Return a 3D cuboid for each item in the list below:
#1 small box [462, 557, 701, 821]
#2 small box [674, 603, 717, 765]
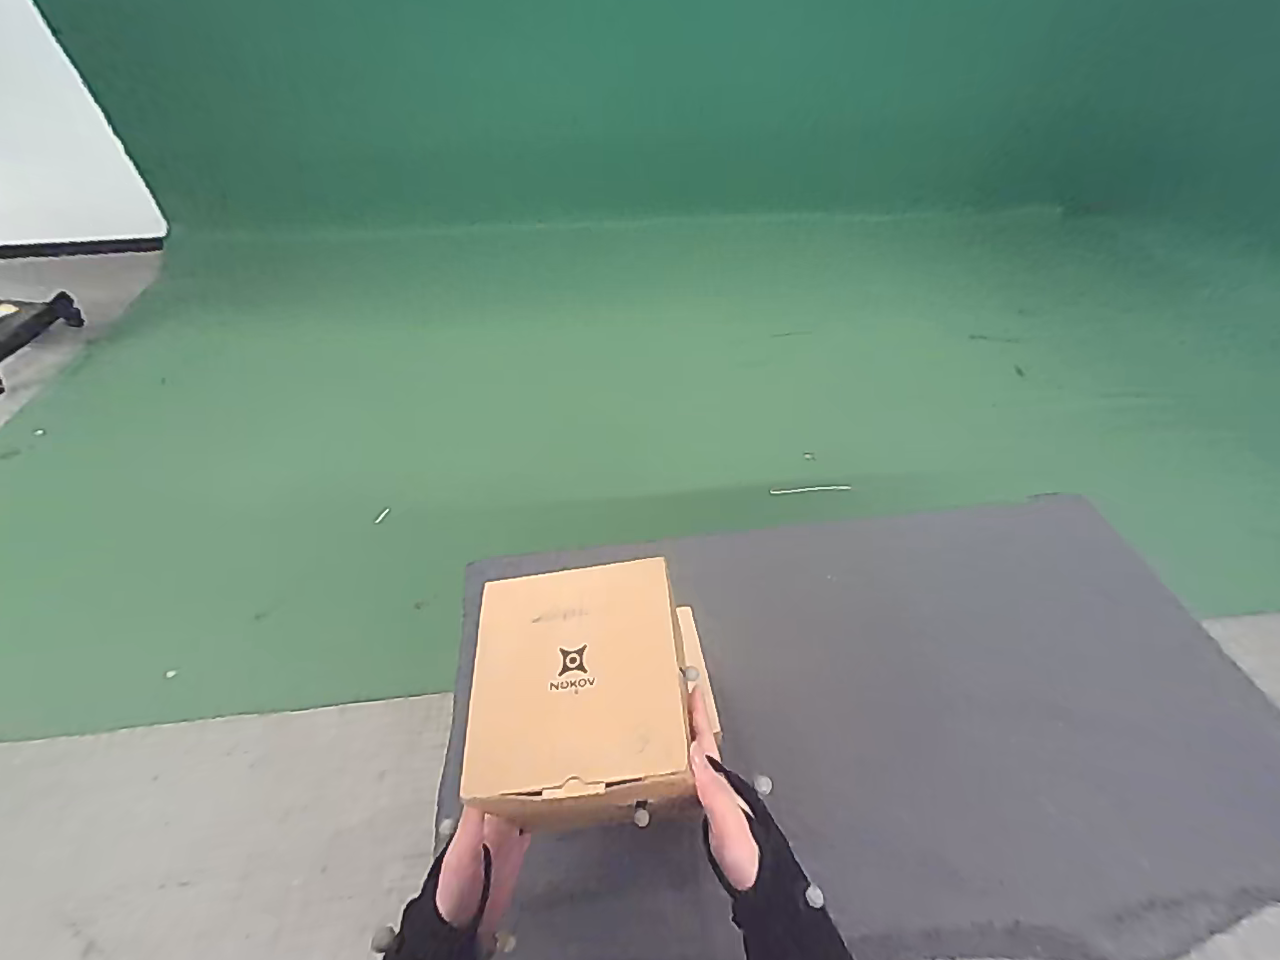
[{"bbox_3d":[-0.040,0.195,0.487,0.168,0.176,0.179,-8,50,3],"label":"small box"},{"bbox_3d":[0.001,0.296,0.746,0.168,0.176,0.179,-6,49,-7],"label":"small box"}]
